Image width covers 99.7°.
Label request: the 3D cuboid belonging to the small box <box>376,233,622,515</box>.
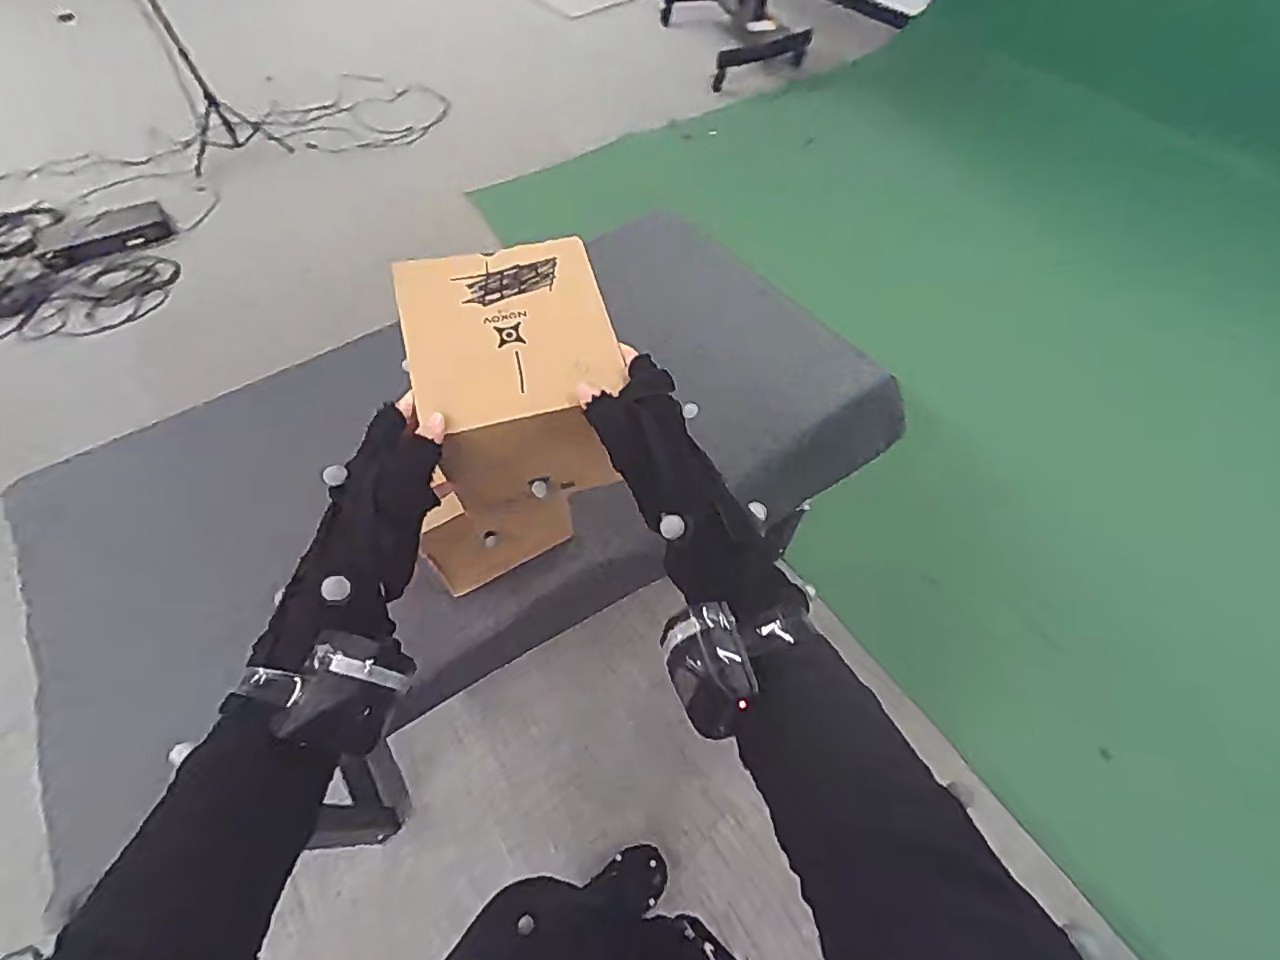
[{"bbox_3d":[-0.125,-0.093,0.512,0.168,0.176,0.179,-18,66,-12],"label":"small box"}]

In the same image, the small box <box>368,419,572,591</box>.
[{"bbox_3d":[-0.206,0.013,0.690,0.179,0.176,0.168,-28,61,-15],"label":"small box"}]
